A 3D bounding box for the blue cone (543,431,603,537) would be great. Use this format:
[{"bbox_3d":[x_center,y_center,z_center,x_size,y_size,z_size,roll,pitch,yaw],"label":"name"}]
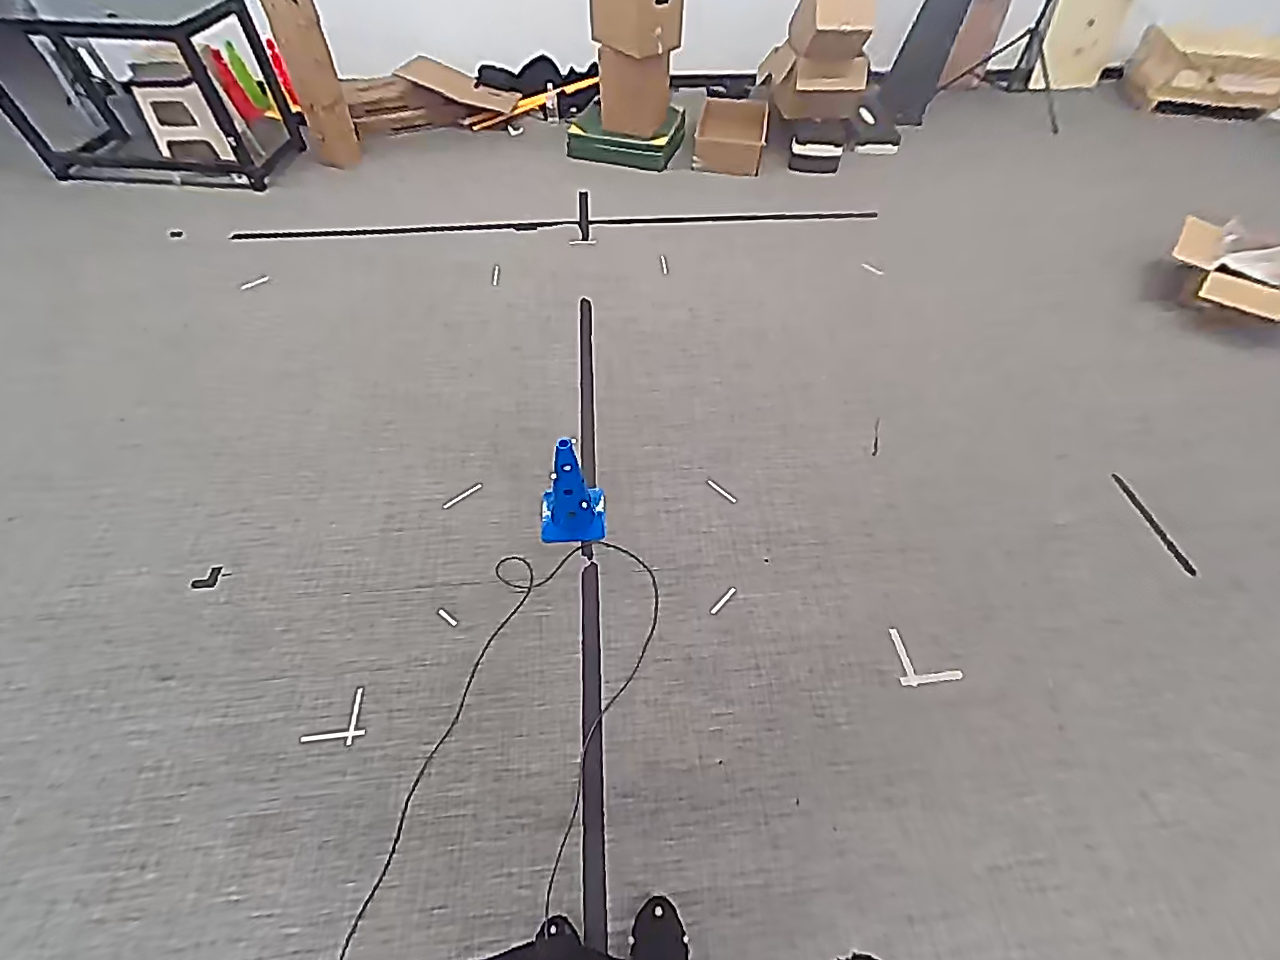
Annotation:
[{"bbox_3d":[-0.213,0.000,1.591,0.193,0.380,0.192,-4,54,-4],"label":"blue cone"}]
